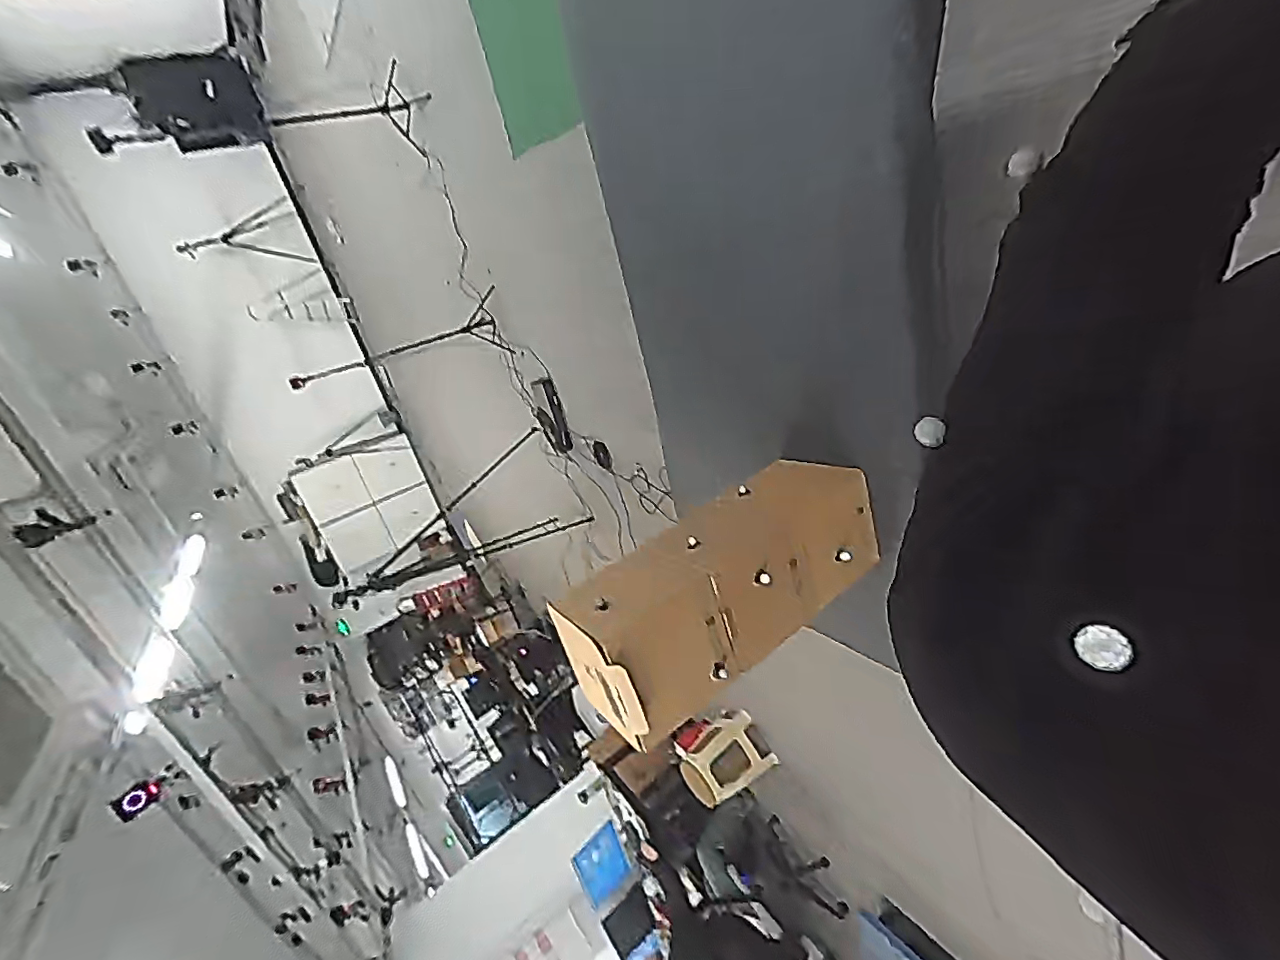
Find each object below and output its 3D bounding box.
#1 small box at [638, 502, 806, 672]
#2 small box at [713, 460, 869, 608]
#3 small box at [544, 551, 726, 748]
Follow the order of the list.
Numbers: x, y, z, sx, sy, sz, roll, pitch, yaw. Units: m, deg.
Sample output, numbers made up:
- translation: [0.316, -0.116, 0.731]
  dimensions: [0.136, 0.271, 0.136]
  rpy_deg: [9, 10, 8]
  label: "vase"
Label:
- translation: [0.129, 0.147, 0.816]
  dimensions: [0.179, 0.176, 0.168]
  rpy_deg: [12, 124, 58]
  label: "small box"
- translation: [0.255, 0.077, 0.891]
  dimensions: [0.179, 0.176, 0.168]
  rpy_deg: [12, 126, 57]
  label: "small box"
- translation: [-0.001, 0.215, 0.743]
  dimensions: [0.179, 0.176, 0.168]
  rpy_deg: [9, 122, 58]
  label: "small box"
